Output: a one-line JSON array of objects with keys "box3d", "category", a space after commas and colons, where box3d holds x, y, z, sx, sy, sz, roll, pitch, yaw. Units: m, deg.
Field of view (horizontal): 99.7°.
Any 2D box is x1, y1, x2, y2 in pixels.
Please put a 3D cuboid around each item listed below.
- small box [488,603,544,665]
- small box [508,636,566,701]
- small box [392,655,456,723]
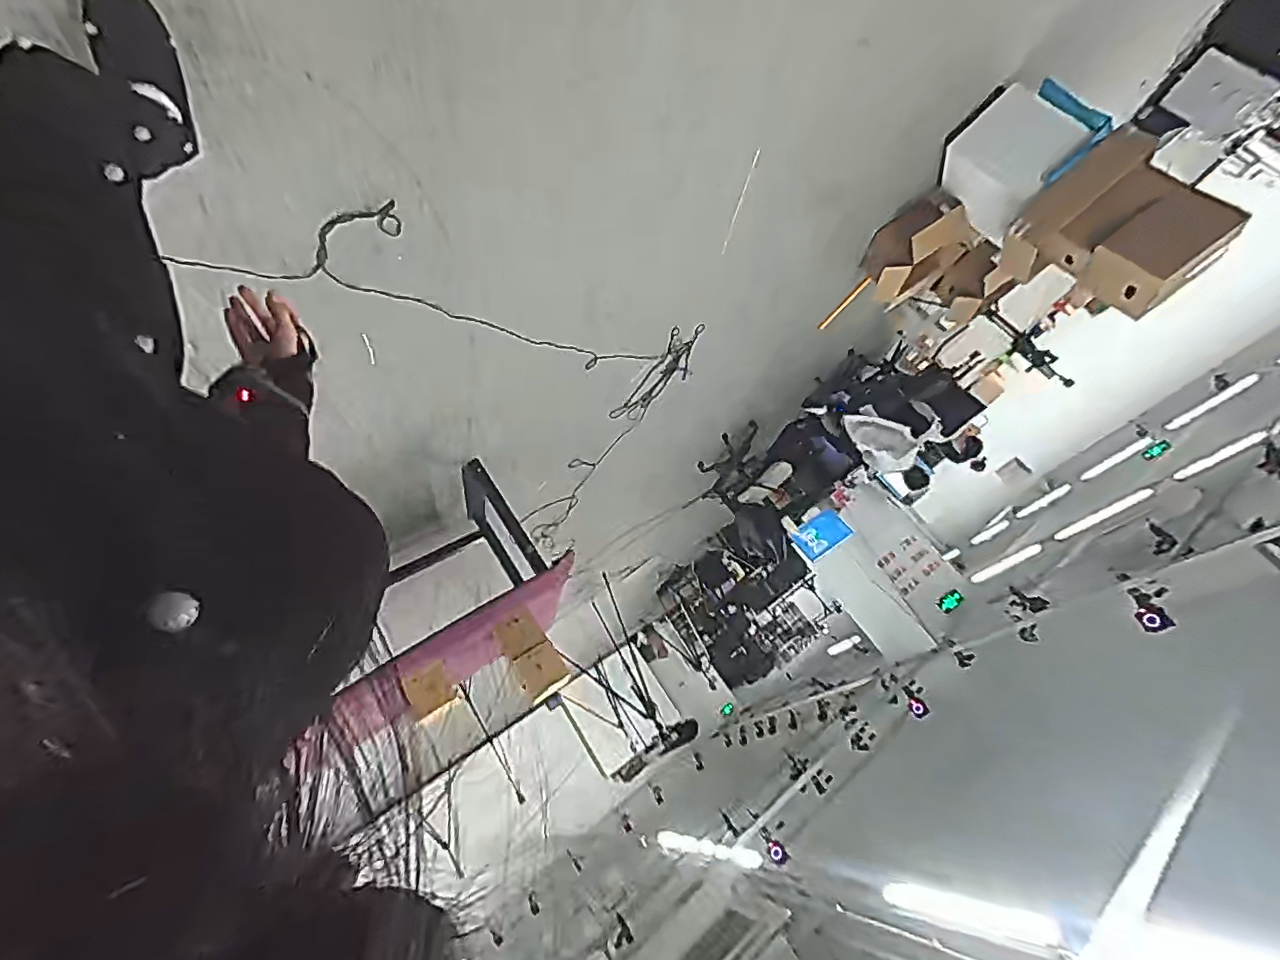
[{"box3d": [-0.515, 0.635, 2.236, 0.168, 0.176, 0.179, -28, 159, -26], "category": "small box"}, {"box3d": [-0.419, 0.753, 2.175, 0.168, 0.176, 0.179, -27, 159, -27], "category": "small box"}, {"box3d": [-0.823, 0.792, 2.057, 0.168, 0.176, 0.179, -28, 161, -26], "category": "small box"}]
